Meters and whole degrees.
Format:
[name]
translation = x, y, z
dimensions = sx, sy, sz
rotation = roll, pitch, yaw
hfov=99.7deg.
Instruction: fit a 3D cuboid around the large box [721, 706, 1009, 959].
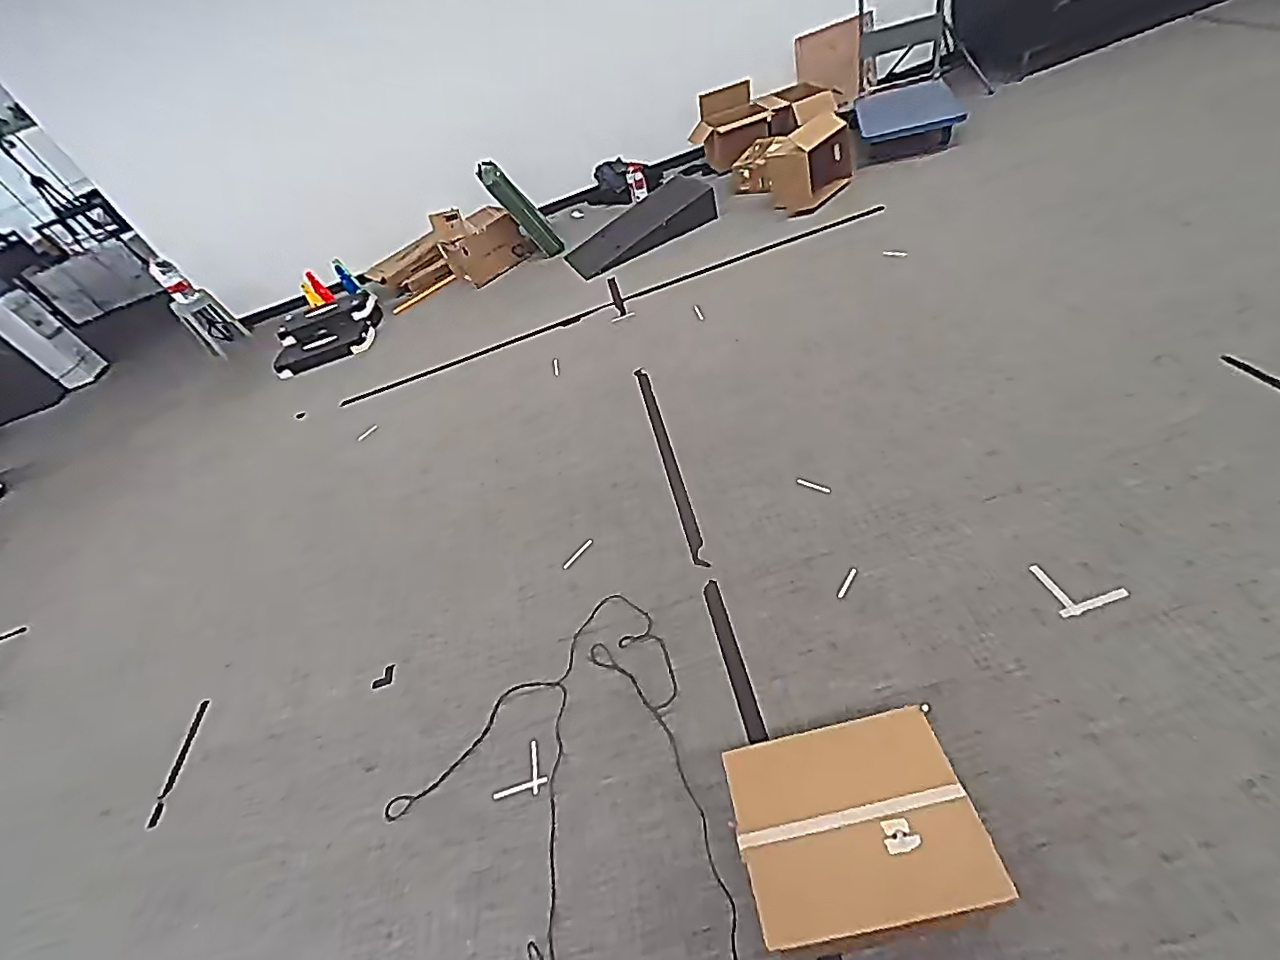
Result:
[large box]
translation = 0.411, 0.708, 1.074
dimensions = 0.408, 0.320, 0.320
rotation = -16, 44, 4
